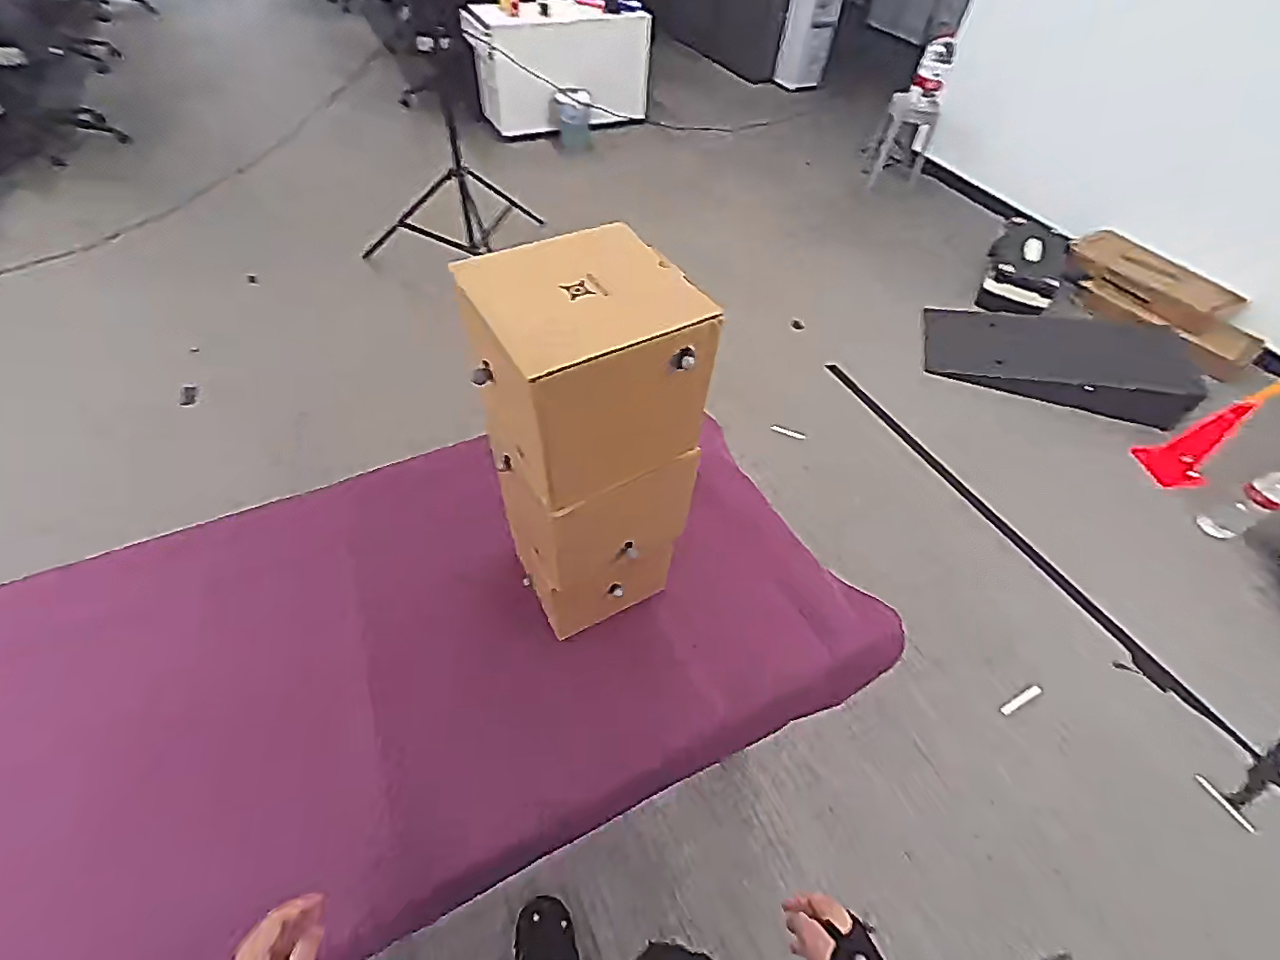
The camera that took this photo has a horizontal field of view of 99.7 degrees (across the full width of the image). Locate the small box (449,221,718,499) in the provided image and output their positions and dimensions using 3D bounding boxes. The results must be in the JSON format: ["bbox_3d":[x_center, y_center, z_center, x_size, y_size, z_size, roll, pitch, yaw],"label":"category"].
[{"bbox_3d":[-0.052,-0.110,0.512,0.179,0.176,0.168,-25,58,-22],"label":"small box"}]

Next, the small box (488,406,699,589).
[{"bbox_3d":[-0.058,-0.005,0.637,0.179,0.176,0.168,-25,58,-22],"label":"small box"}]
